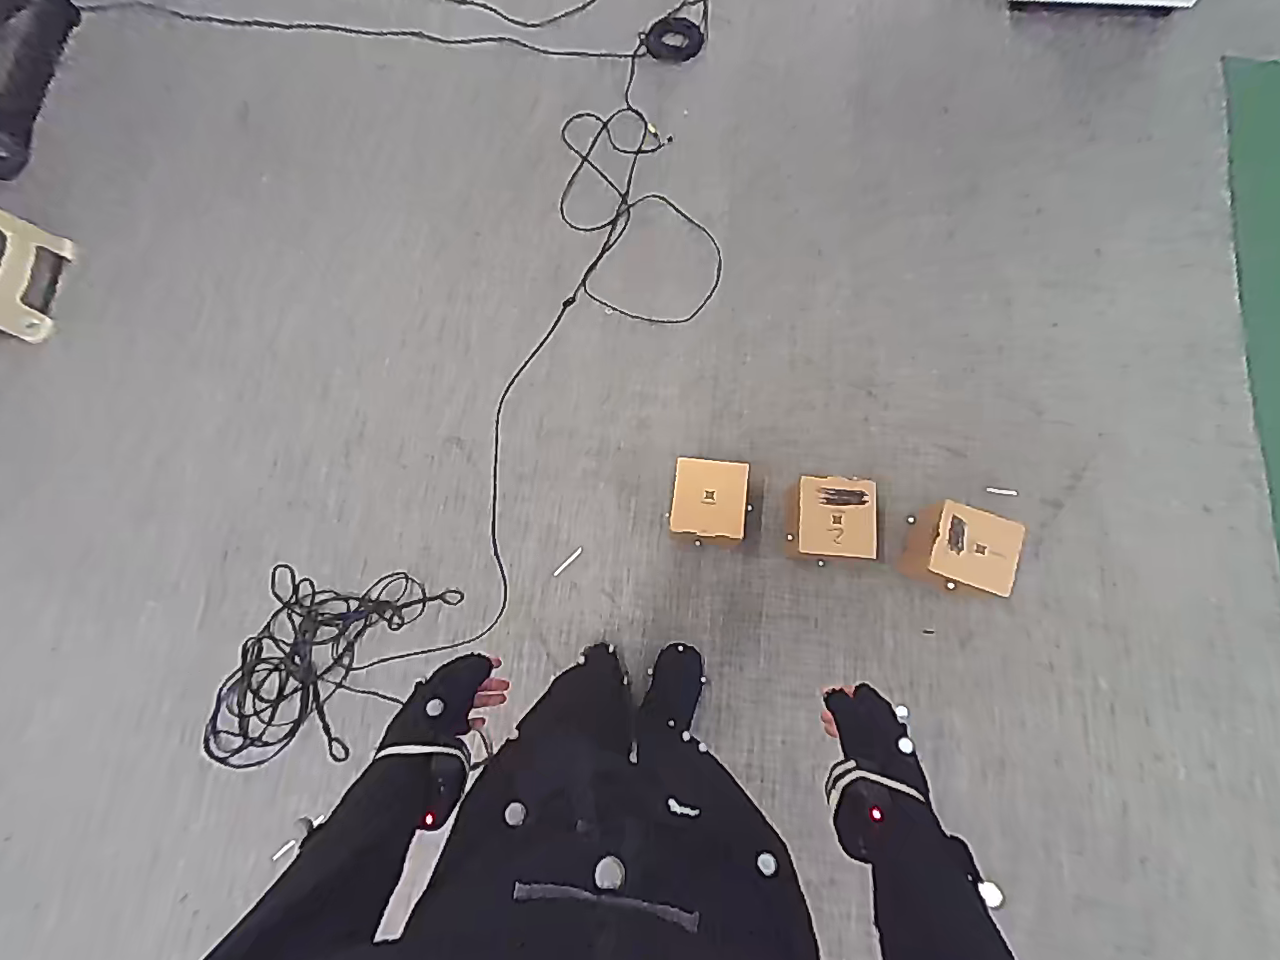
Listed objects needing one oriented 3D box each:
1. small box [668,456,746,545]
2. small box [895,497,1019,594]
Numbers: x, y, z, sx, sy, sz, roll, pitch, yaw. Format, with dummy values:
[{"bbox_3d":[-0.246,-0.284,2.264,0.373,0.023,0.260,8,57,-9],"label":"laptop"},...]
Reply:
[{"bbox_3d":[0.158,0.054,1.305,0.168,0.176,0.179,6,78,5],"label":"small box"},{"bbox_3d":[0.715,0.158,1.240,0.179,0.176,0.168,20,79,7],"label":"small box"}]
